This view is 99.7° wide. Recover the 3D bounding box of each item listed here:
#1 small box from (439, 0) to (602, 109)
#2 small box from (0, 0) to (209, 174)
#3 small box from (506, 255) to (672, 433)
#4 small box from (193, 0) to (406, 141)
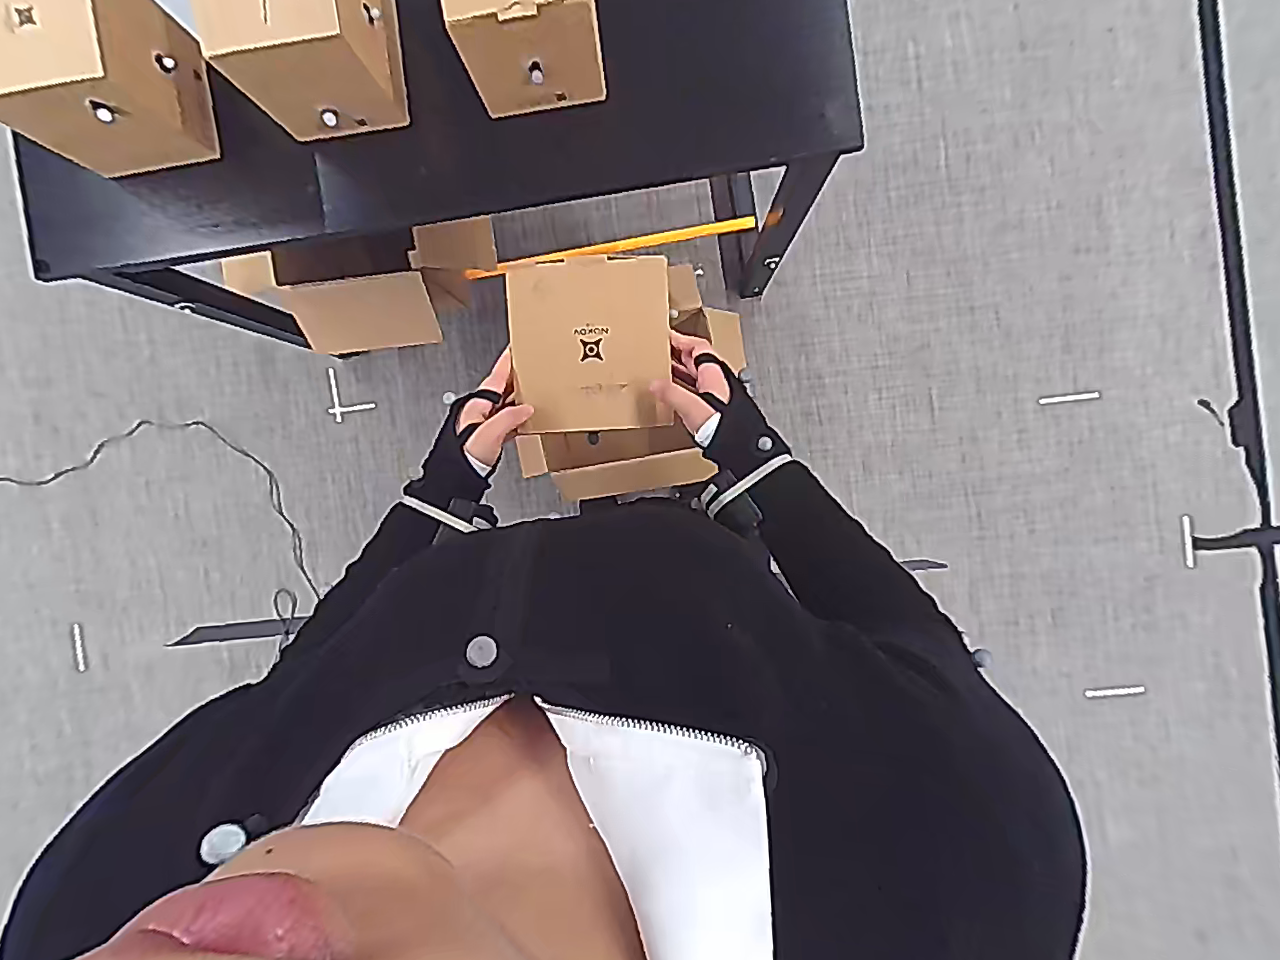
[{"bbox_3d":[-0.145,-0.599,0.673,0.168,0.176,0.179,-7,92,3],"label":"small box"},{"bbox_3d":[-0.701,-0.527,0.696,0.179,0.176,0.168,-8,91,2],"label":"small box"},{"bbox_3d":[-0.054,-0.147,0.636,0.168,0.176,0.179,-4,96,0],"label":"small box"},{"bbox_3d":[-0.420,-0.573,0.684,0.168,0.176,0.179,-7,92,3],"label":"small box"}]
